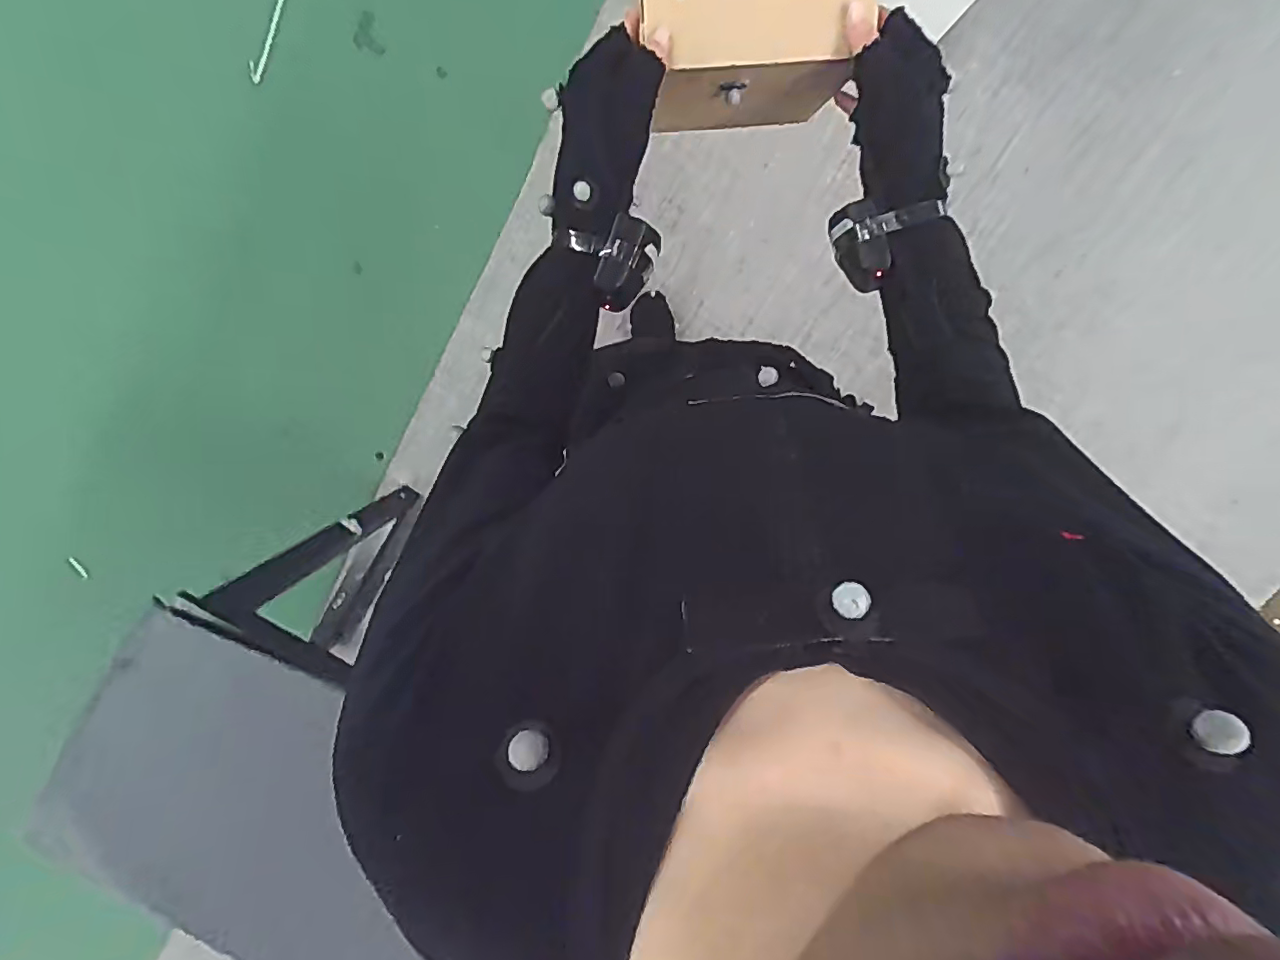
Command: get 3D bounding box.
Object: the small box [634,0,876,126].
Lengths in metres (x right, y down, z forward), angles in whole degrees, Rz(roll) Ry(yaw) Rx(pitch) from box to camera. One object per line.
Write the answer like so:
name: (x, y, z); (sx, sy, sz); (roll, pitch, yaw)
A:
small box: (0.082, -0.416, 0.454); (0.179, 0.176, 0.168); (-3, 109, 0)
